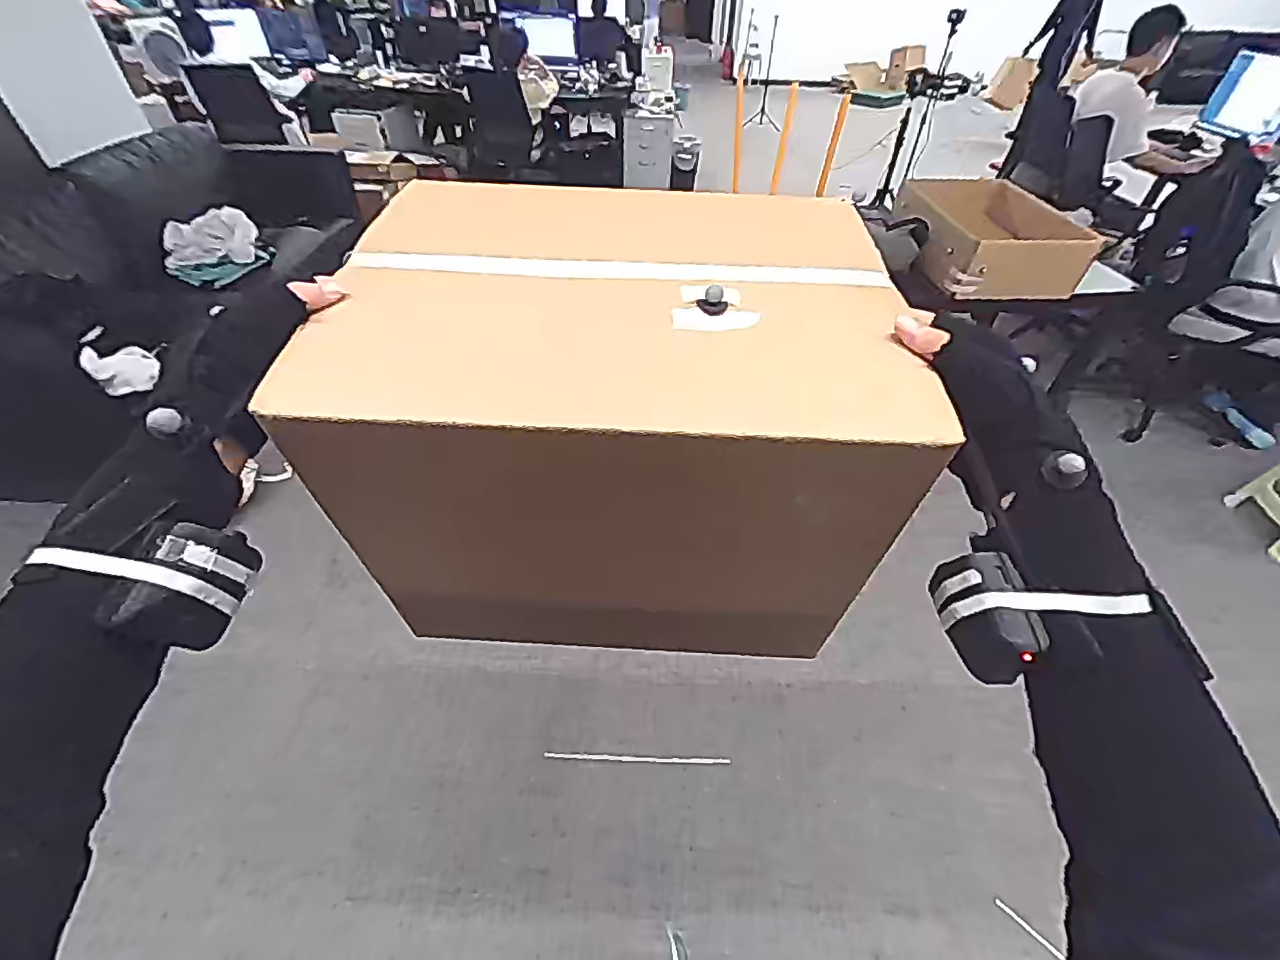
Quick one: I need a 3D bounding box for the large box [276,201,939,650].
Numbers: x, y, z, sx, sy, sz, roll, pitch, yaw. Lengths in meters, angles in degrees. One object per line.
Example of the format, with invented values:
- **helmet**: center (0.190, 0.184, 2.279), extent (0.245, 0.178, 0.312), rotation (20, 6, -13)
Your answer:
- **large box**: center (-0.020, -0.044, 0.526), extent (0.408, 0.320, 0.320), rotation (3, 51, 0)
